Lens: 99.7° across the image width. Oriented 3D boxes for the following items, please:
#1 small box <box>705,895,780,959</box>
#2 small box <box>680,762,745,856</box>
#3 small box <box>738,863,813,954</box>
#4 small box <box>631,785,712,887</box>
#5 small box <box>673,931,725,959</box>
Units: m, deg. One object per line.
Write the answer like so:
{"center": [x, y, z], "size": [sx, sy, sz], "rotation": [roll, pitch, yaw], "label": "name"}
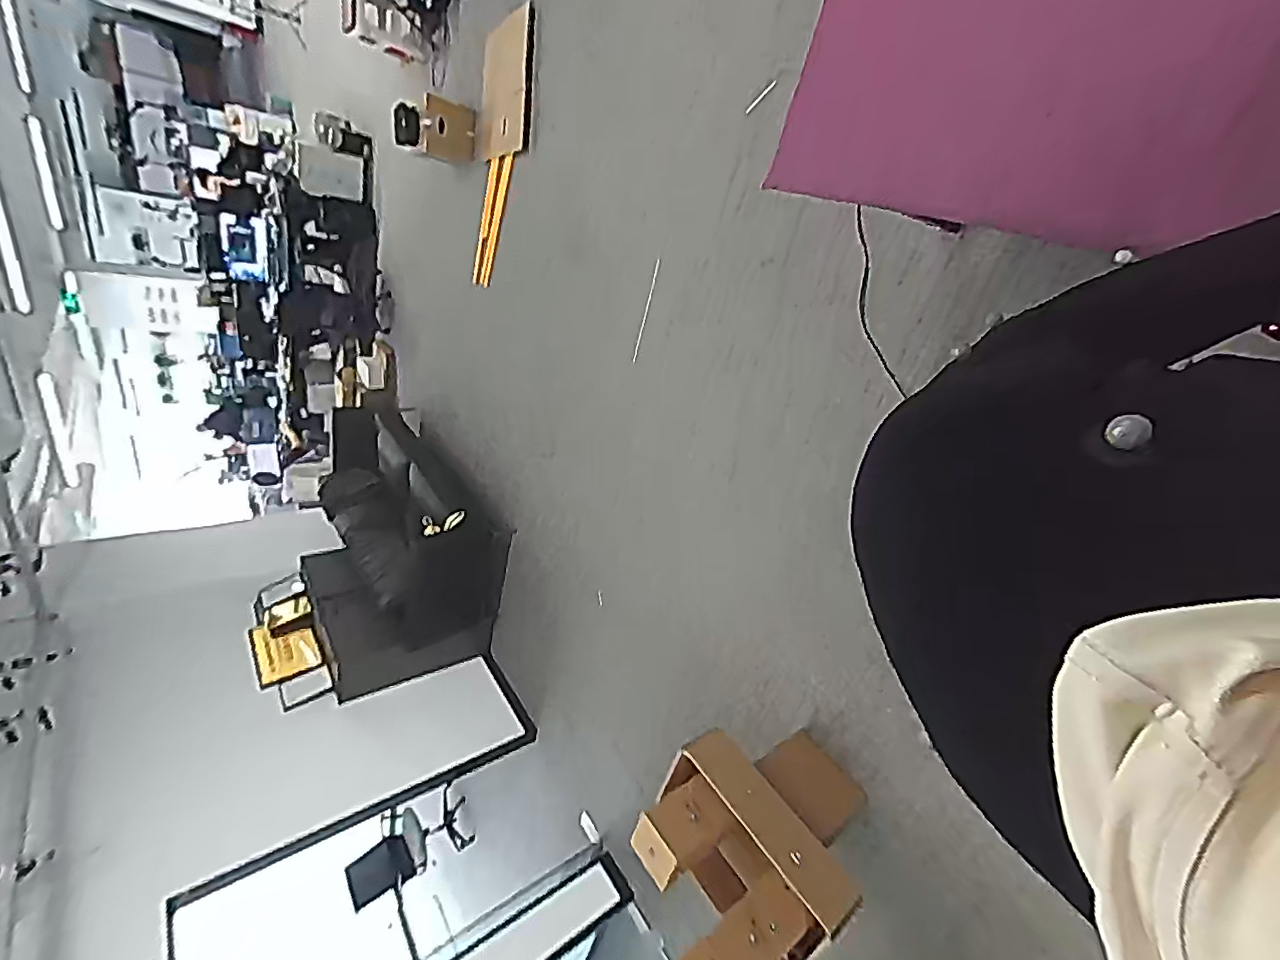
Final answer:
{"center": [0.266, 1.339, 1.533], "size": [0.168, 0.176, 0.179], "rotation": [44, 128, 35], "label": "small box"}
{"center": [0.222, 1.079, 1.787], "size": [0.168, 0.176, 0.179], "rotation": [40, 127, 38], "label": "small box"}
{"center": [0.391, 1.319, 1.637], "size": [0.168, 0.176, 0.179], "rotation": [42, 127, 37], "label": "small box"}
{"center": [0.099, 1.100, 1.682], "size": [0.168, 0.176, 0.179], "rotation": [39, 125, 38], "label": "small box"}
{"center": [0.141, 1.359, 1.431], "size": [0.168, 0.176, 0.179], "rotation": [45, 128, 35], "label": "small box"}
